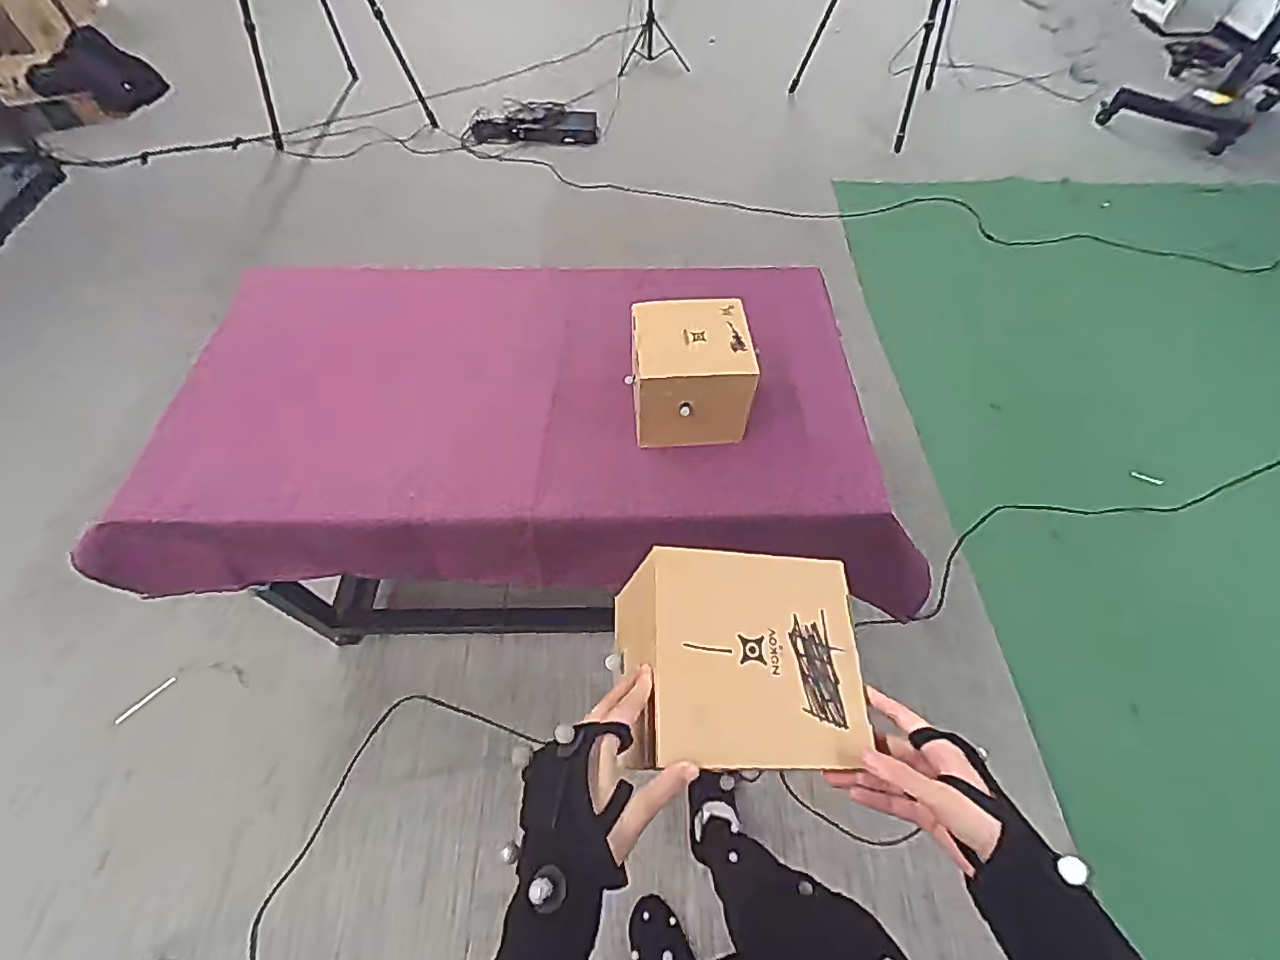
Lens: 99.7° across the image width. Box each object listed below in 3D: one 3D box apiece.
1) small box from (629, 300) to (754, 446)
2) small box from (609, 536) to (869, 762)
[{"bbox_3d":[0.076,-0.169,0.882,0.179,0.176,0.168,-3,57,-1],"label":"small box"},{"bbox_3d":[0.074,0.166,0.502,0.179,0.176,0.168,6,60,-11],"label":"small box"}]
